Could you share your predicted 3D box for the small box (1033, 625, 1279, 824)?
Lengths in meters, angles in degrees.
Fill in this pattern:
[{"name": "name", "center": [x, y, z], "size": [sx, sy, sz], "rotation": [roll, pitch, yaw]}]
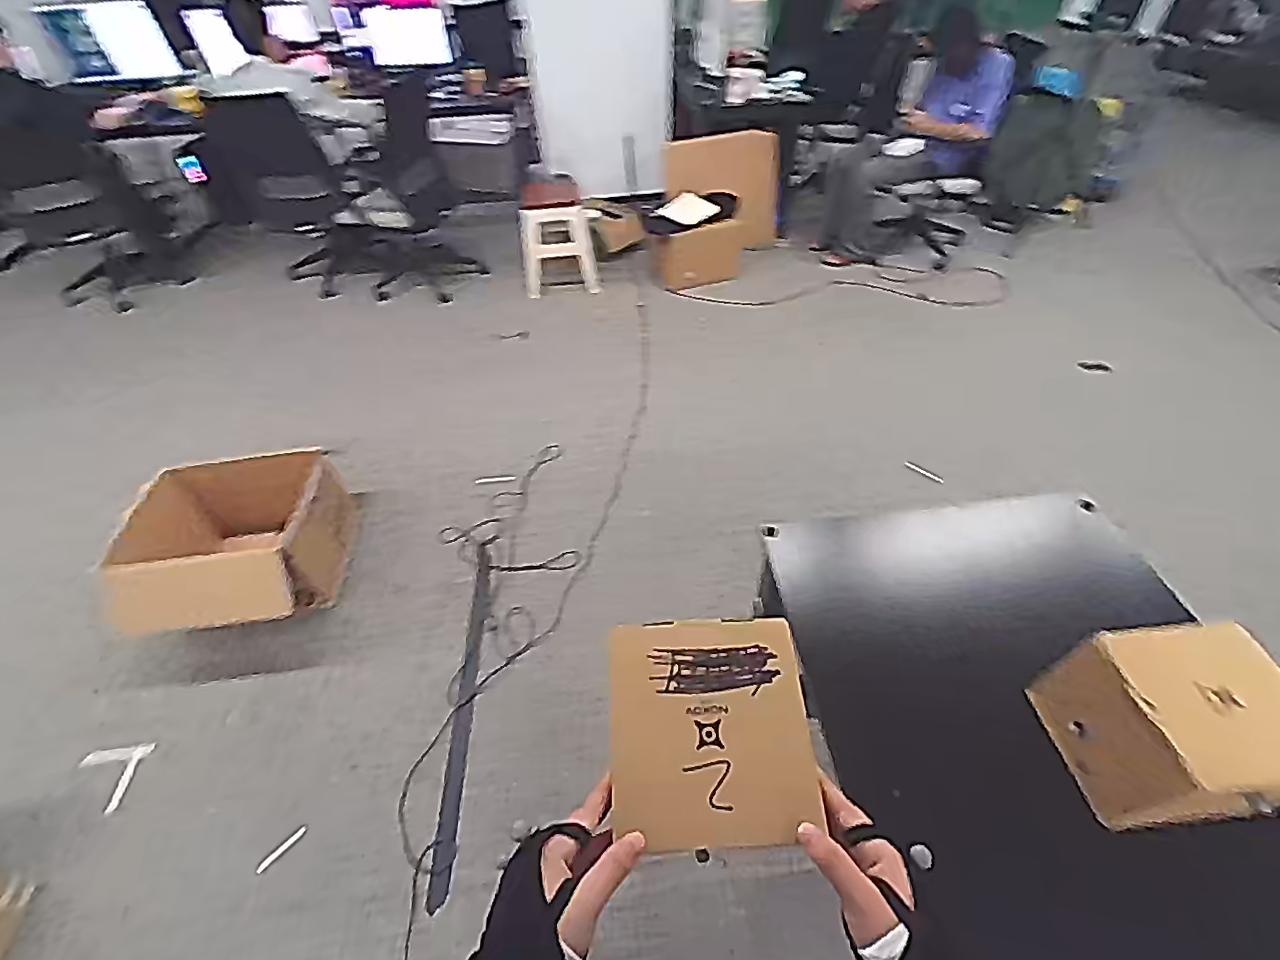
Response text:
[{"name": "small box", "center": [0.625, 0.290, 0.638], "size": [0.179, 0.176, 0.168], "rotation": [-5, 47, -1]}]
